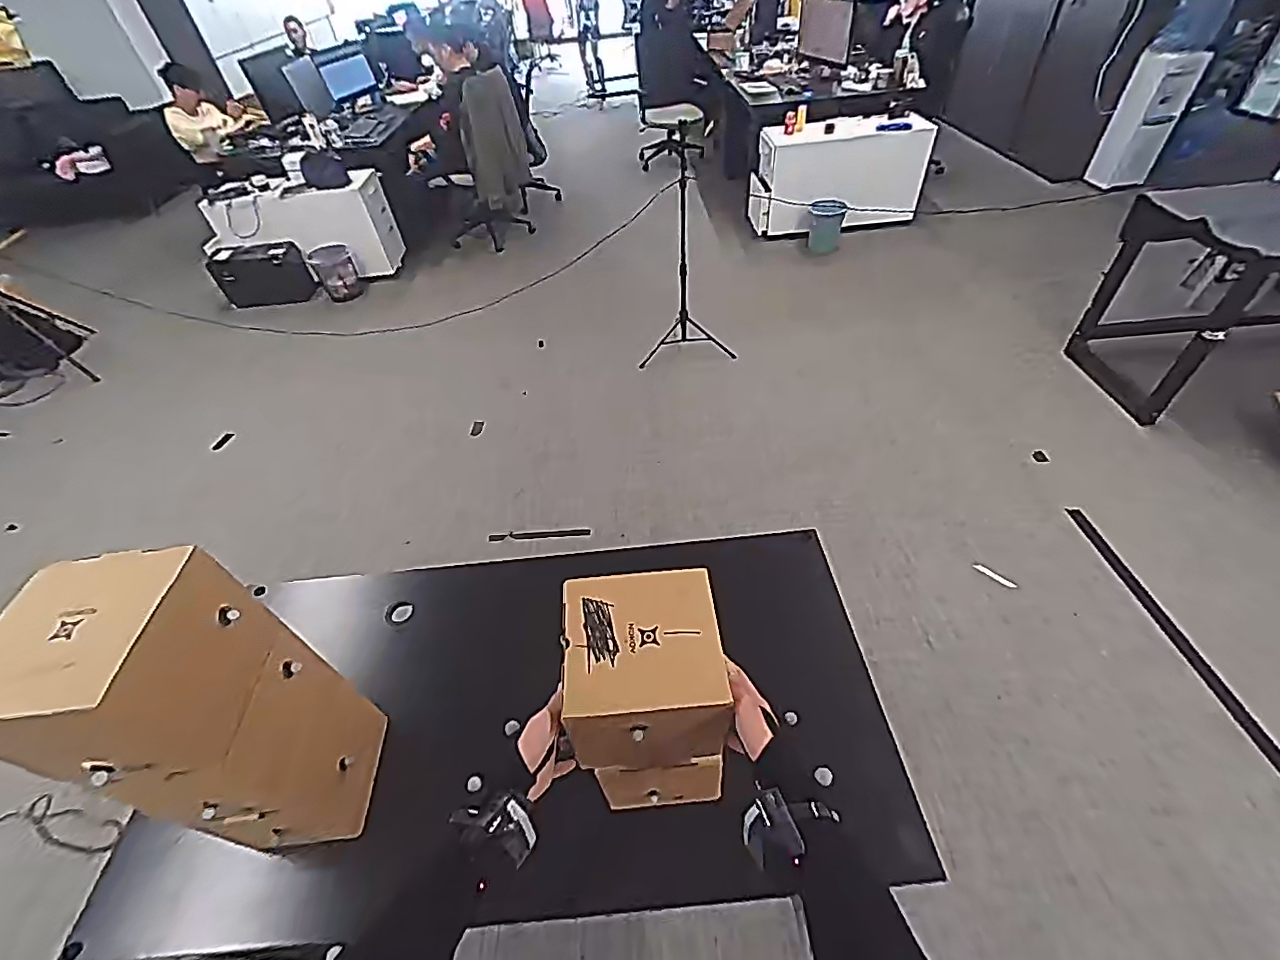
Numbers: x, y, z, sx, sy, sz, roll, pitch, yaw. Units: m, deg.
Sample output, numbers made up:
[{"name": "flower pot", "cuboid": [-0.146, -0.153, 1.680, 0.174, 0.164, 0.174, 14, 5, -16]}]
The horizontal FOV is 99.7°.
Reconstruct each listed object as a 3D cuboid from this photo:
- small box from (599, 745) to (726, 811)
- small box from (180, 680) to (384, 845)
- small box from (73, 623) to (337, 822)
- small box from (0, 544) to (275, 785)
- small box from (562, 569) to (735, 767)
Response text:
[{"name": "small box", "cuboid": [0.029, 0.365, 0.801, 0.168, 0.176, 0.179, -6, 46, 0]}, {"name": "small box", "cuboid": [-0.505, 0.422, 0.800, 0.168, 0.176, 0.179, -7, 46, -1]}, {"name": "small box", "cuboid": [-0.517, 0.306, 0.683, 0.168, 0.176, 0.179, -7, 46, 0]}, {"name": "small box", "cuboid": [-0.528, 0.193, 0.567, 0.168, 0.176, 0.179, -7, 46, 0]}, {"name": "small box", "cuboid": [0.008, 0.227, 0.645, 0.179, 0.176, 0.168, -4, 46, -2]}]
